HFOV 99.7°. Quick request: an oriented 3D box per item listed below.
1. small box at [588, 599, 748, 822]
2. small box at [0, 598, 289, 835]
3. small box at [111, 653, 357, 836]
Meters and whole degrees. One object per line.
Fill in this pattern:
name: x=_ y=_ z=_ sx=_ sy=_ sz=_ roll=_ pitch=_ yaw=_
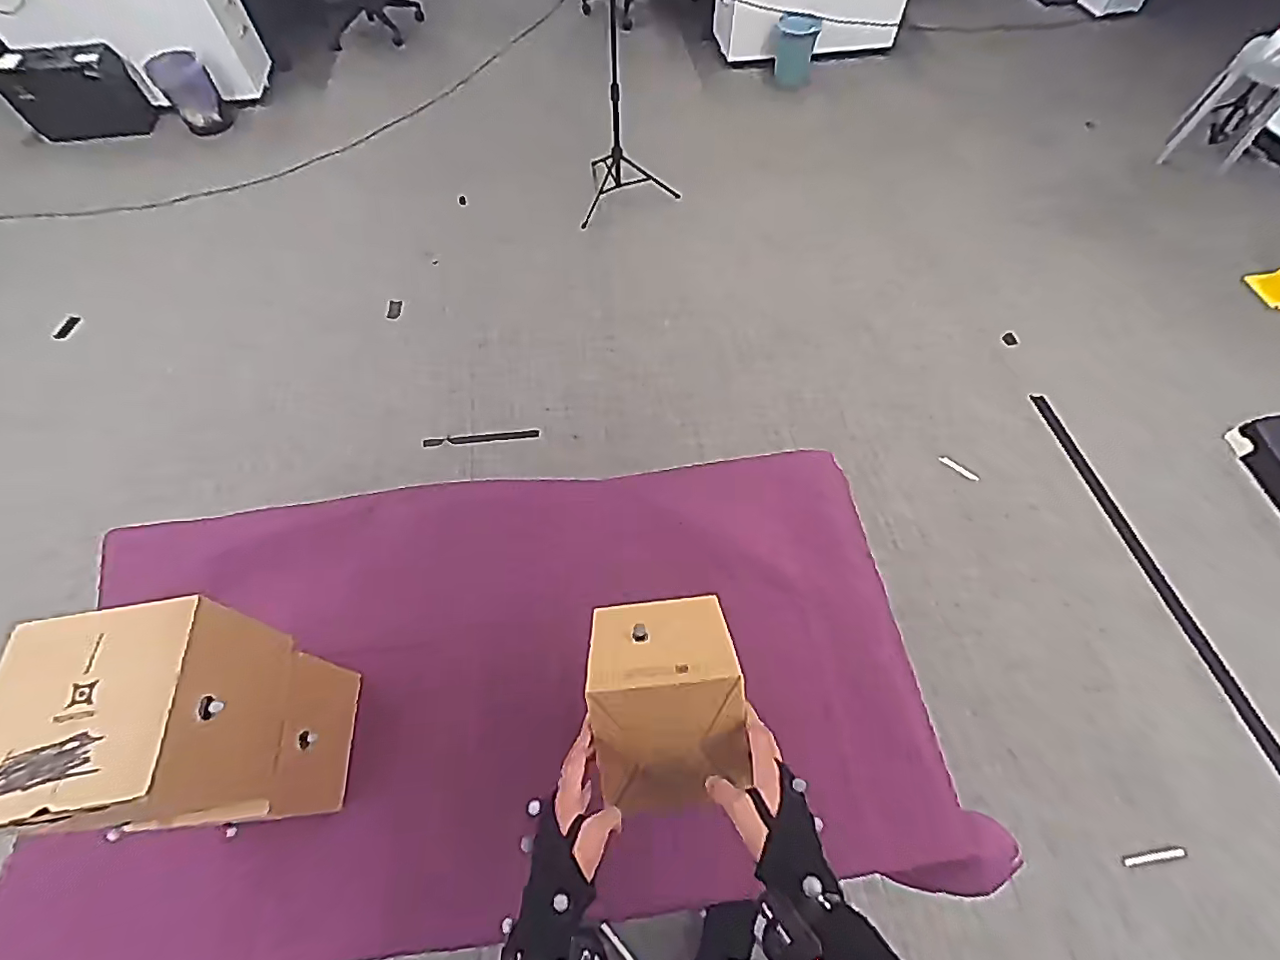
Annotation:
small box: x=0.030 y=0.268 z=0.657 sx=0.168 sy=0.176 sz=0.179 roll=-6 pitch=104 yaw=0
small box: x=-0.488 y=0.238 z=0.543 sx=0.168 sy=0.176 sz=0.179 roll=-8 pitch=60 yaw=-5
small box: x=-0.482 y=0.330 z=0.680 sx=0.168 sy=0.176 sz=0.179 roll=-5 pitch=60 yaw=-3
